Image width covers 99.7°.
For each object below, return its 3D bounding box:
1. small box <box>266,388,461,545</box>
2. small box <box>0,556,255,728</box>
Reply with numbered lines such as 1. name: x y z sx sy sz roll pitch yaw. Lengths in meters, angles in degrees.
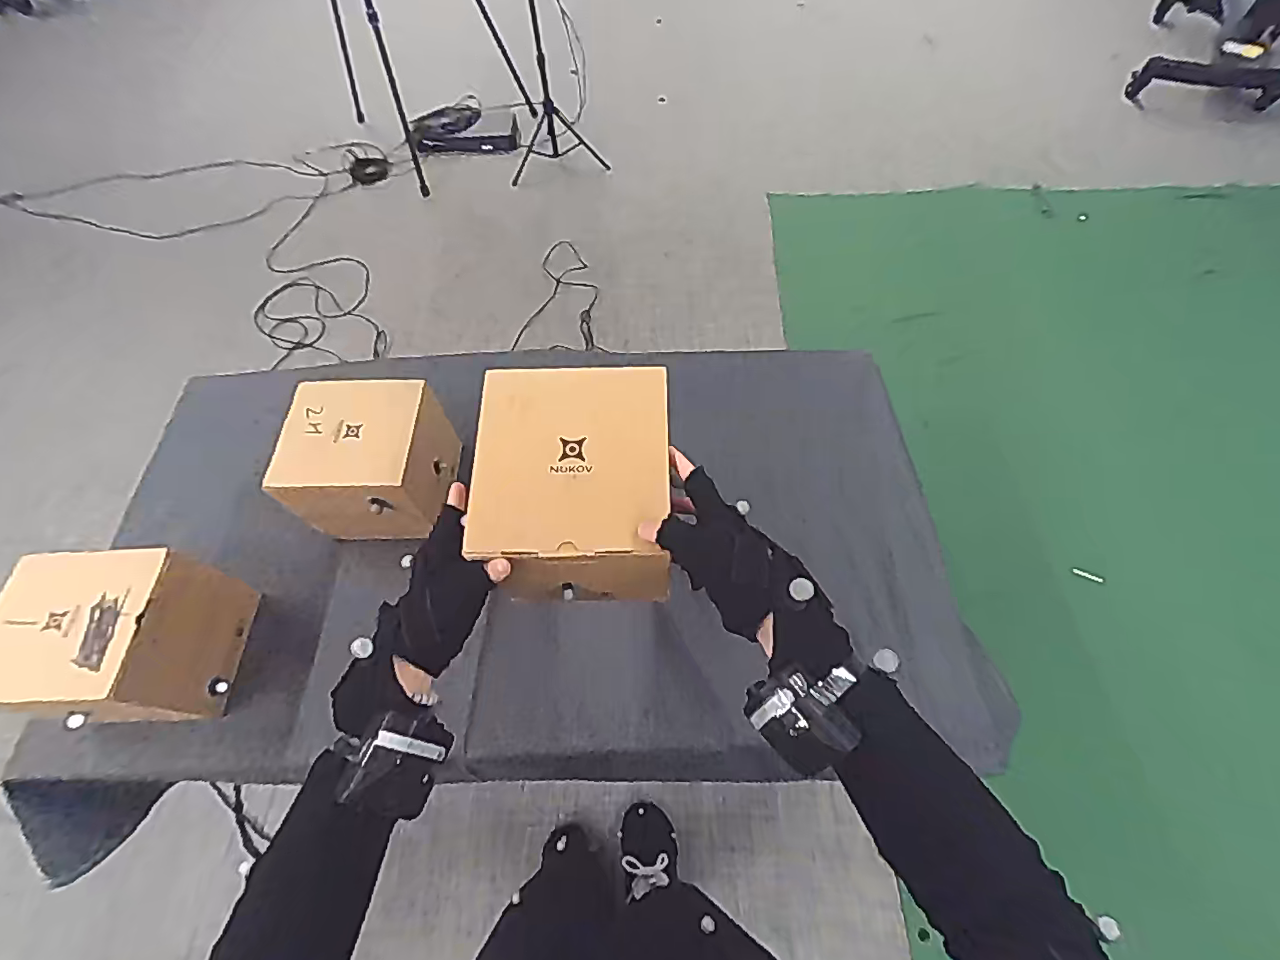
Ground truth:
1. small box: -0.371 -0.014 0.768 0.179 0.176 0.168 0 61 1
2. small box: -0.616 0.199 0.650 0.179 0.176 0.168 -2 60 0
